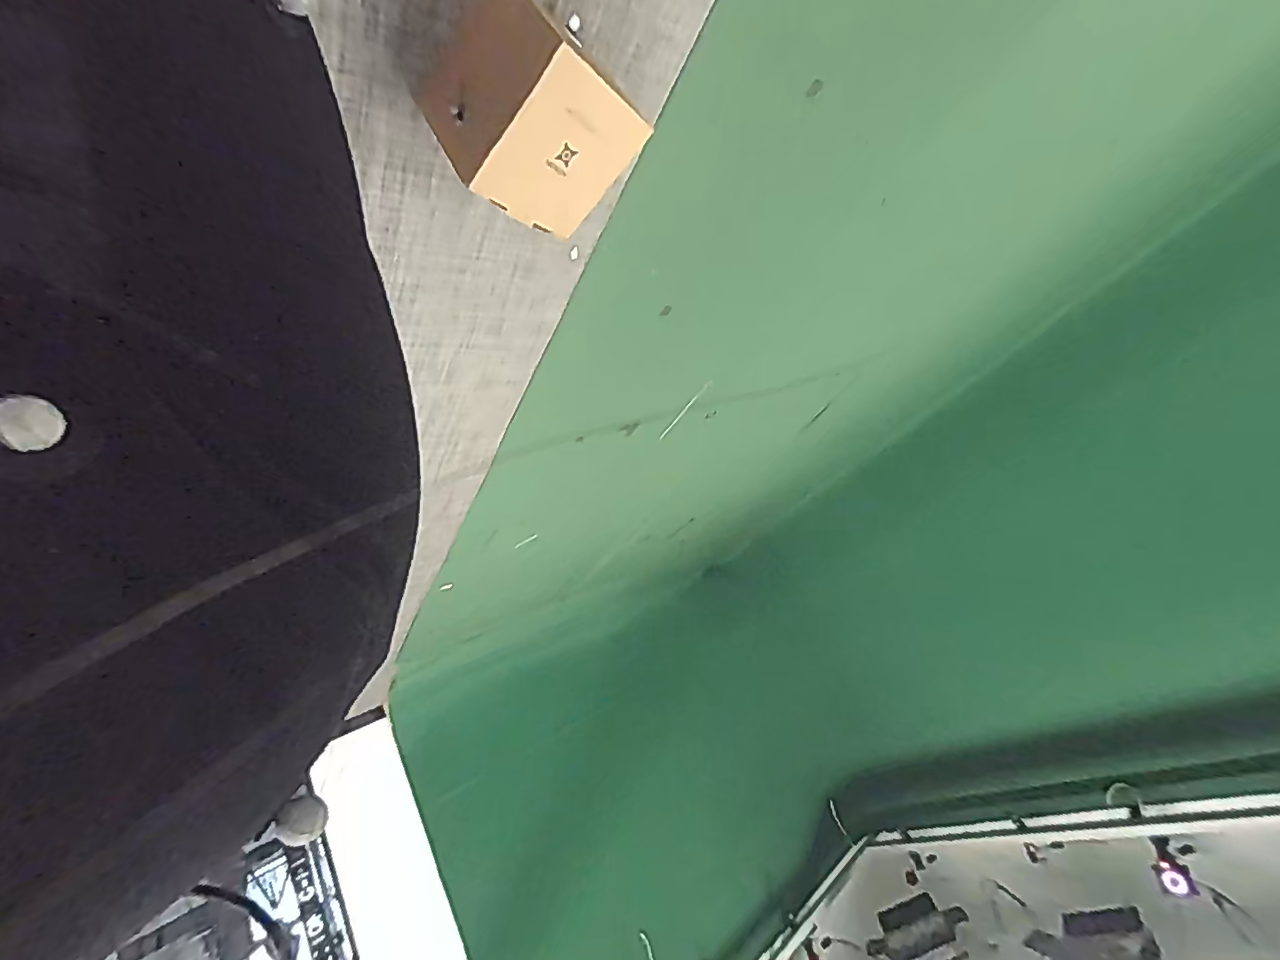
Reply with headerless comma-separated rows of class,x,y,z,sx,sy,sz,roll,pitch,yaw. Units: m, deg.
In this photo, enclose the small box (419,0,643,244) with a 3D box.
small box,-0.136,-0.429,0.643,0.179,0.176,0.168,-41,160,28
